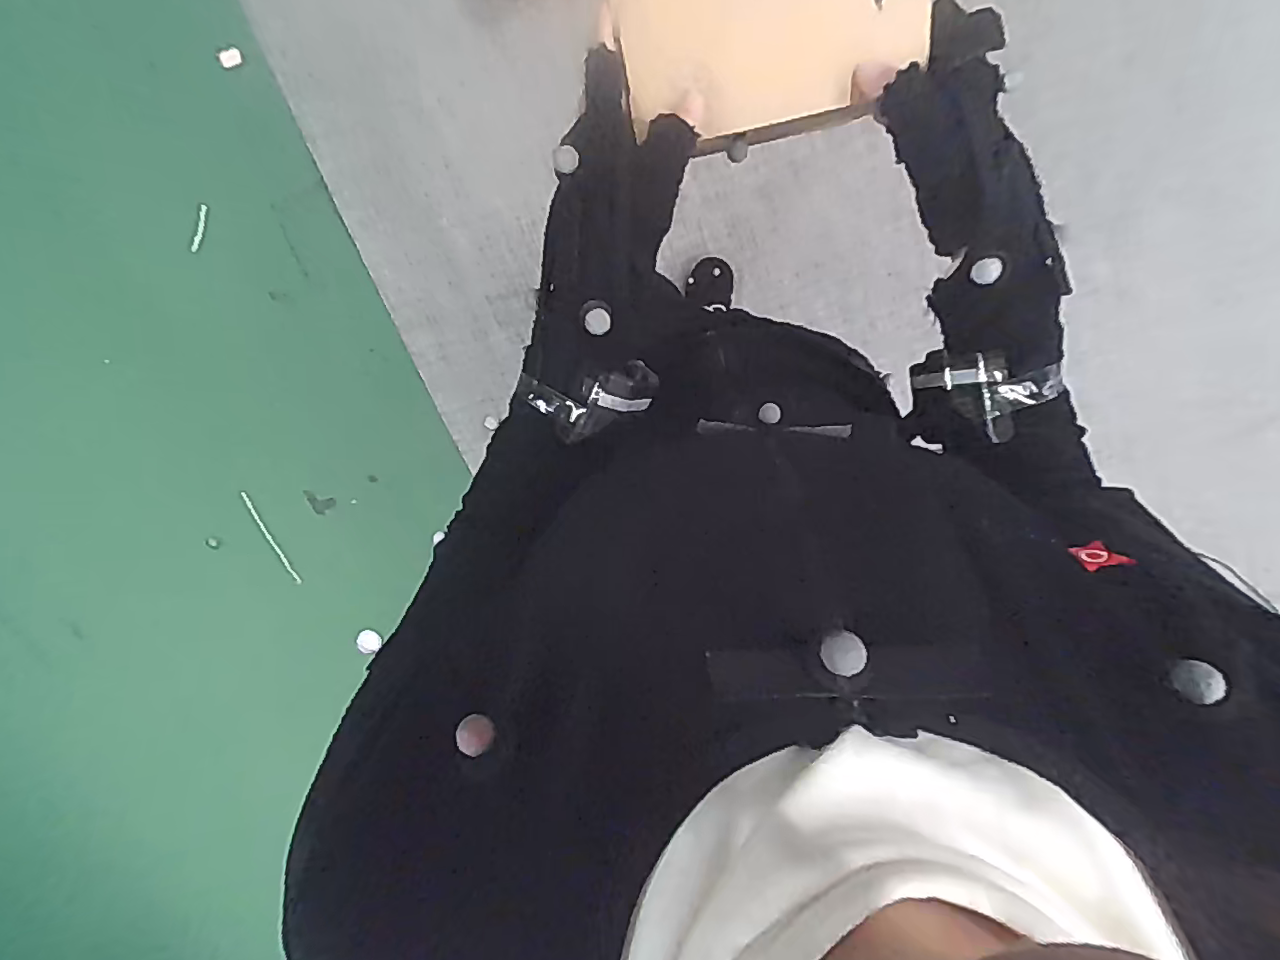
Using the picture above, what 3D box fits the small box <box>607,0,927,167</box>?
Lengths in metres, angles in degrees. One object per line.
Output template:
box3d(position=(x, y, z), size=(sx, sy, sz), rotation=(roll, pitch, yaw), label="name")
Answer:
box3d(position=(0.068, -0.330, 0.368), size=(0.179, 0.176, 0.168), rotation=(-12, 114, 8), label="small box")
